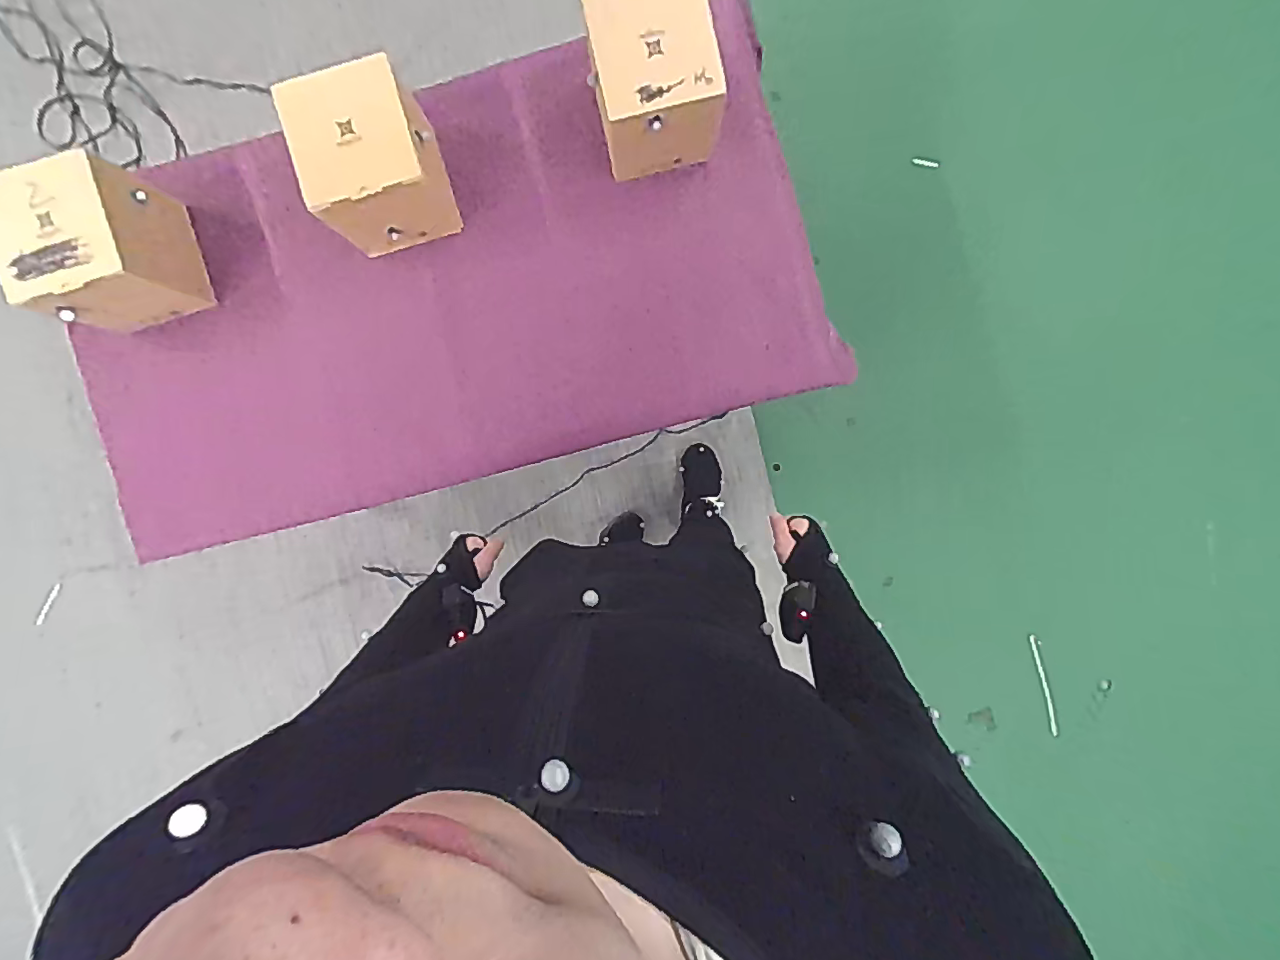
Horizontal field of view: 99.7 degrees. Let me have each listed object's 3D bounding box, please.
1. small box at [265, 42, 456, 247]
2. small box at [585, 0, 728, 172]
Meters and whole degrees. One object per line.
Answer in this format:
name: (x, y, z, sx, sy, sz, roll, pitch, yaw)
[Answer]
small box: (-0.394, -0.476, 0.794, 0.168, 0.176, 0.179, -17, 93, 0)
small box: (0.019, -0.593, 0.789, 0.168, 0.176, 0.179, -13, 93, 1)
